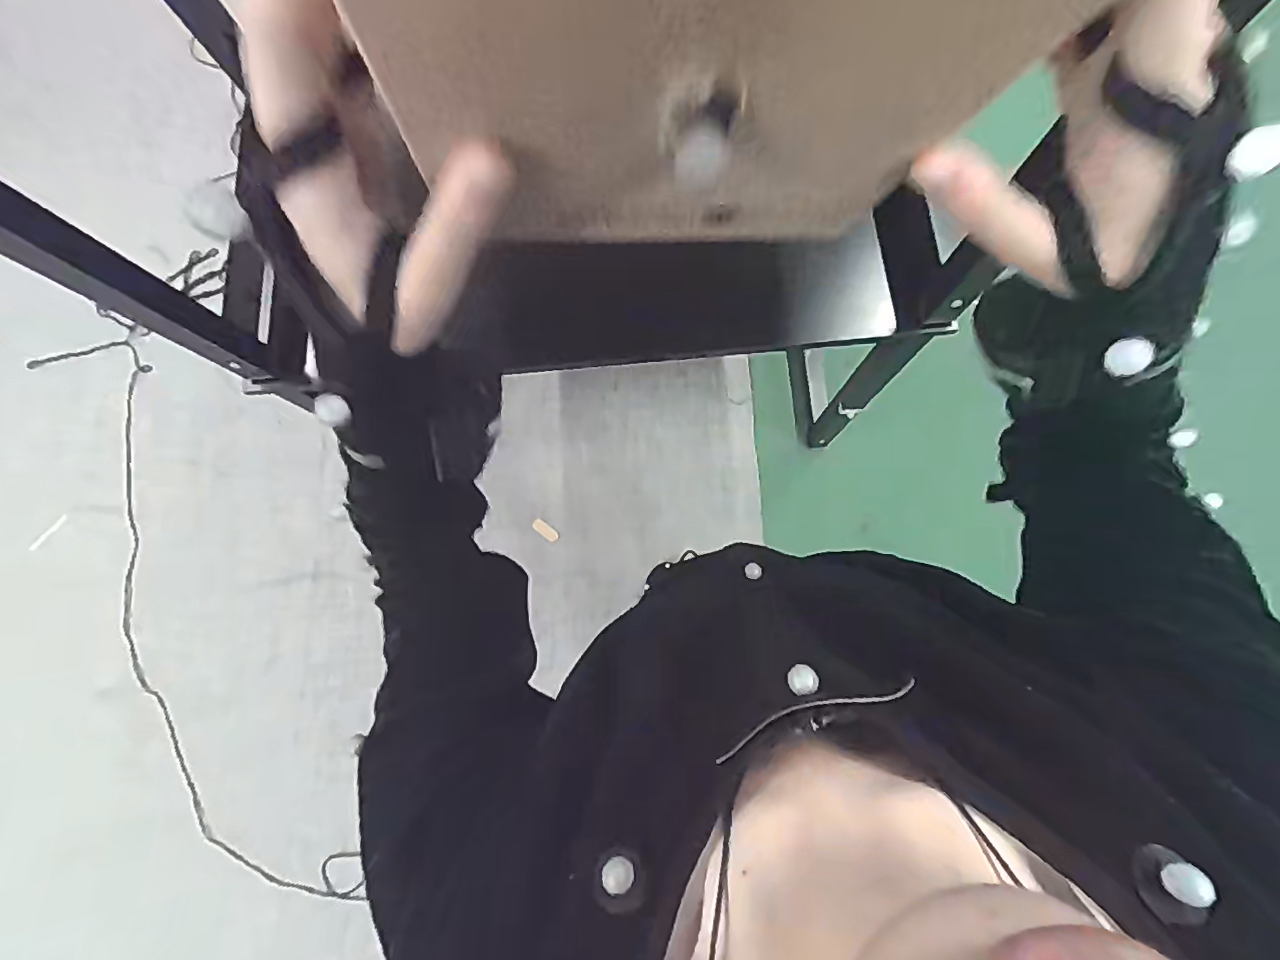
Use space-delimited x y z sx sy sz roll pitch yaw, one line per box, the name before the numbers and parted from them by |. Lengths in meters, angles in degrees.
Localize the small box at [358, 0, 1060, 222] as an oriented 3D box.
small box | 0.014 -0.184 0.140 0.168 0.176 0.179 -5 93 -7
